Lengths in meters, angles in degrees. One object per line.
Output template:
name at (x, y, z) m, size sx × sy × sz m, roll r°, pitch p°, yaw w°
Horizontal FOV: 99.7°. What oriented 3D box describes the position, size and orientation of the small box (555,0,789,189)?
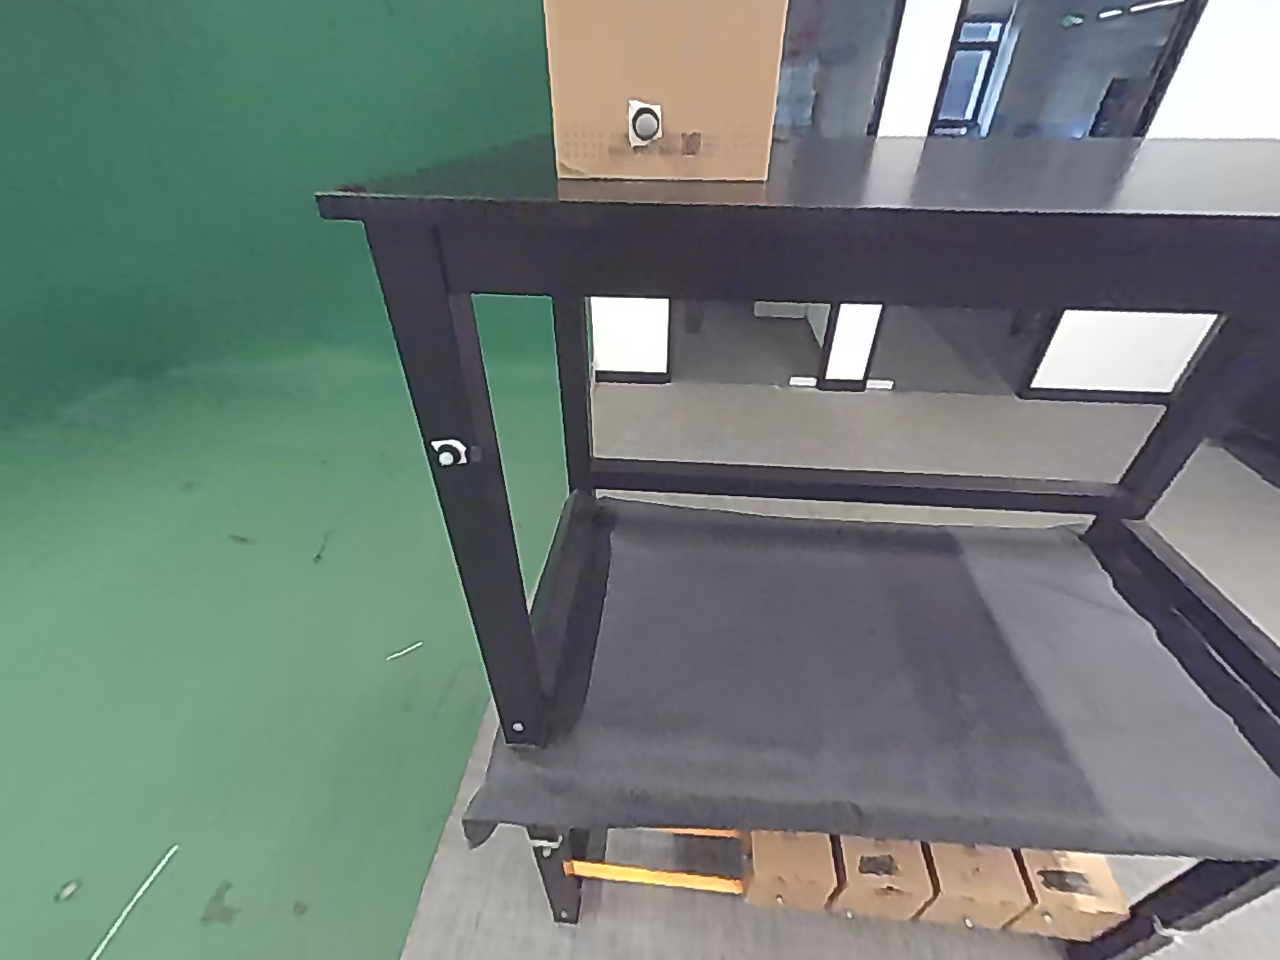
small box at (0.022, -0.352, 0.454) m, size 0.168 × 0.176 × 0.179 m, roll 0°, pitch 36°, yaw 1°
